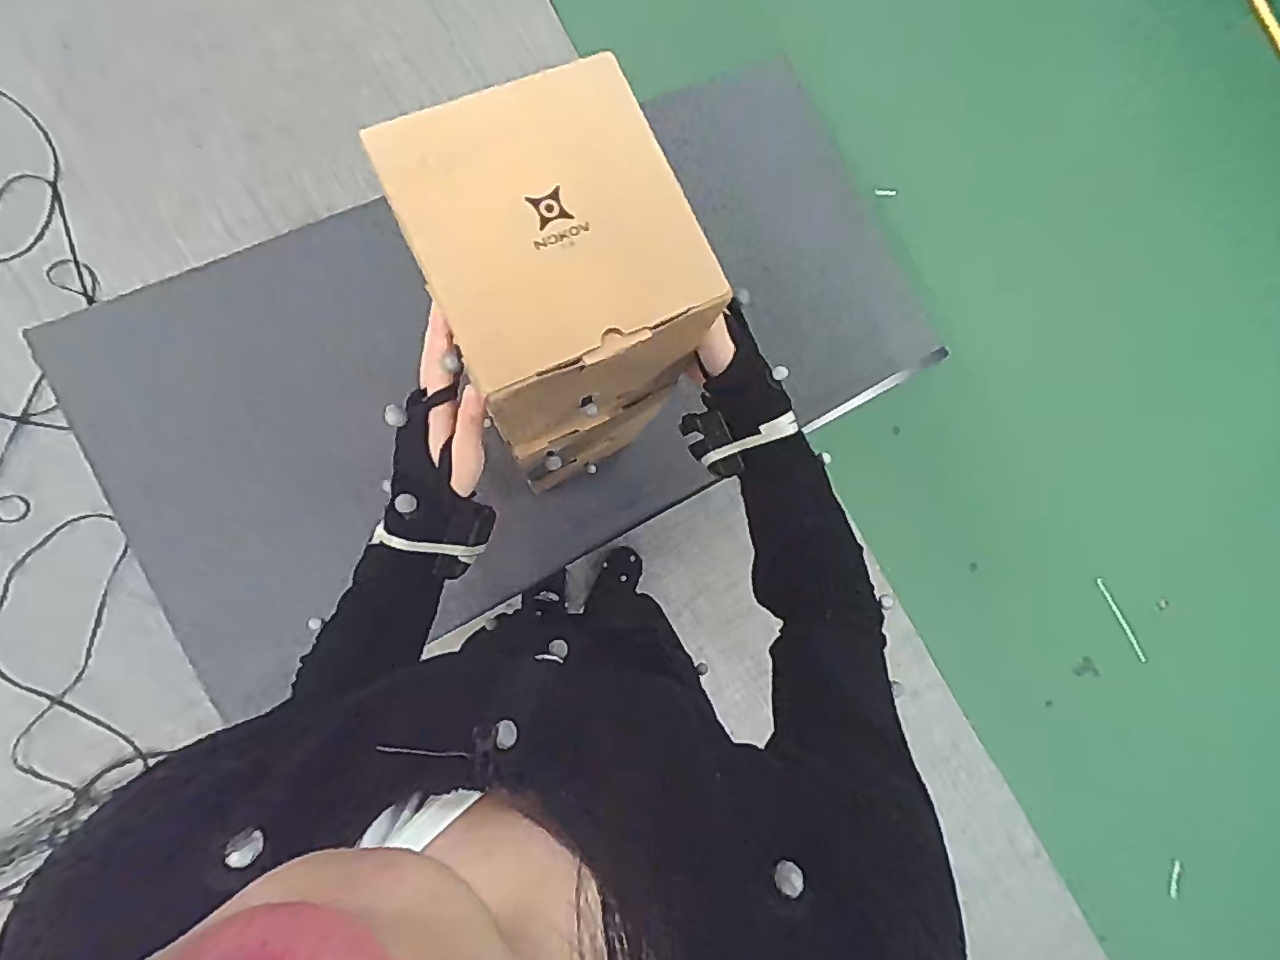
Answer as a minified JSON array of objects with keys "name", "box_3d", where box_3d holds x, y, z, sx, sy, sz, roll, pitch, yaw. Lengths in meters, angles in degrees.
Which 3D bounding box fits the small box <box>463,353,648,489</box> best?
[{"name":"small box","box_3d":[-0.113,-0.103,0.728,0.168,0.176,0.179,-30,90,-10]}]

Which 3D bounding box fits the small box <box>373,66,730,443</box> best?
[{"name":"small box","box_3d":[-0.064,-0.147,0.408,0.168,0.176,0.179,-26,89,-11]}]
